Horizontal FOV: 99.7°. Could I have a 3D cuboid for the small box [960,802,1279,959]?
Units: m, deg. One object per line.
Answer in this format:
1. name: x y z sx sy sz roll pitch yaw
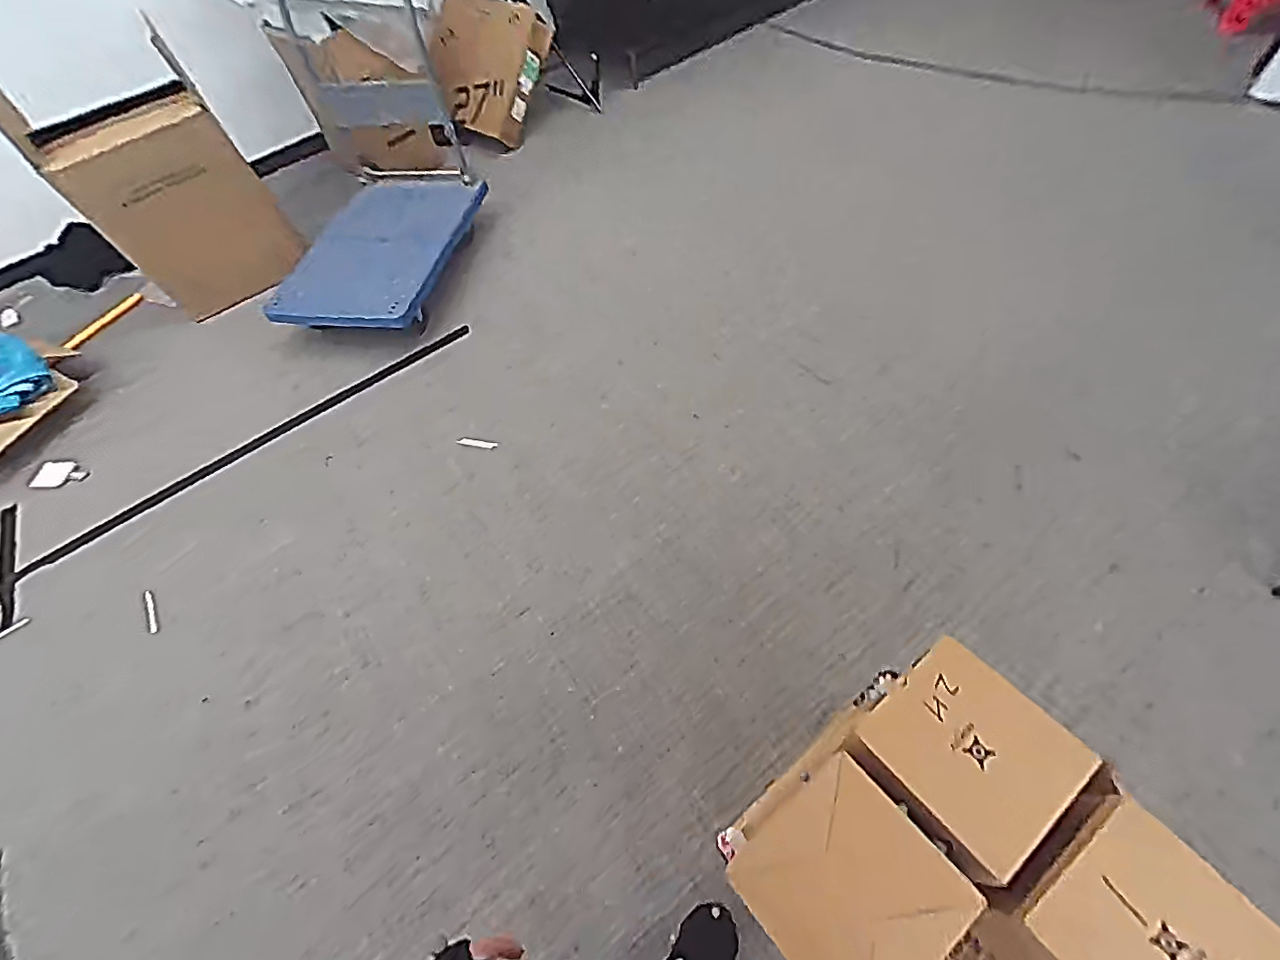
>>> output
1. small box: 0.467 0.450 0.533 0.168 0.176 0.179 -36 60 -13
